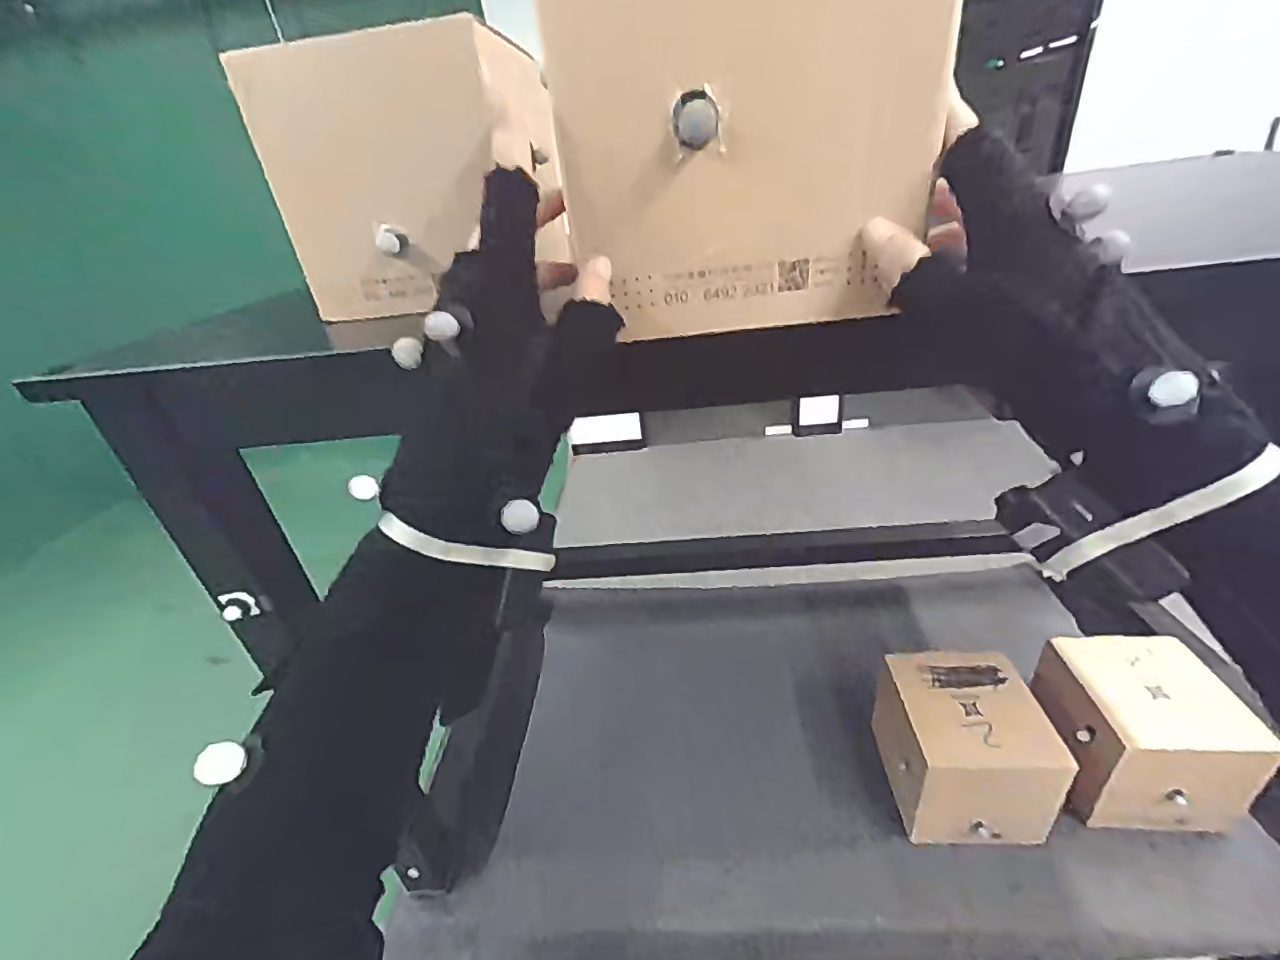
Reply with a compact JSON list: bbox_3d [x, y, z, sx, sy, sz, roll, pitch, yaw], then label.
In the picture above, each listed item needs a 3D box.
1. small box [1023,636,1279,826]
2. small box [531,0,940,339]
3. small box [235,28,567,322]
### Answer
[{"bbox_3d":[0.662,0.335,0.731,0.168,0.176,0.179,-3,29,8],"label":"small box"},{"bbox_3d":[0.049,-0.183,0.307,0.168,0.176,0.179,-5,30,5],"label":"small box"},{"bbox_3d":[-0.162,-0.235,0.441,0.168,0.176,0.179,-3,31,7],"label":"small box"}]
